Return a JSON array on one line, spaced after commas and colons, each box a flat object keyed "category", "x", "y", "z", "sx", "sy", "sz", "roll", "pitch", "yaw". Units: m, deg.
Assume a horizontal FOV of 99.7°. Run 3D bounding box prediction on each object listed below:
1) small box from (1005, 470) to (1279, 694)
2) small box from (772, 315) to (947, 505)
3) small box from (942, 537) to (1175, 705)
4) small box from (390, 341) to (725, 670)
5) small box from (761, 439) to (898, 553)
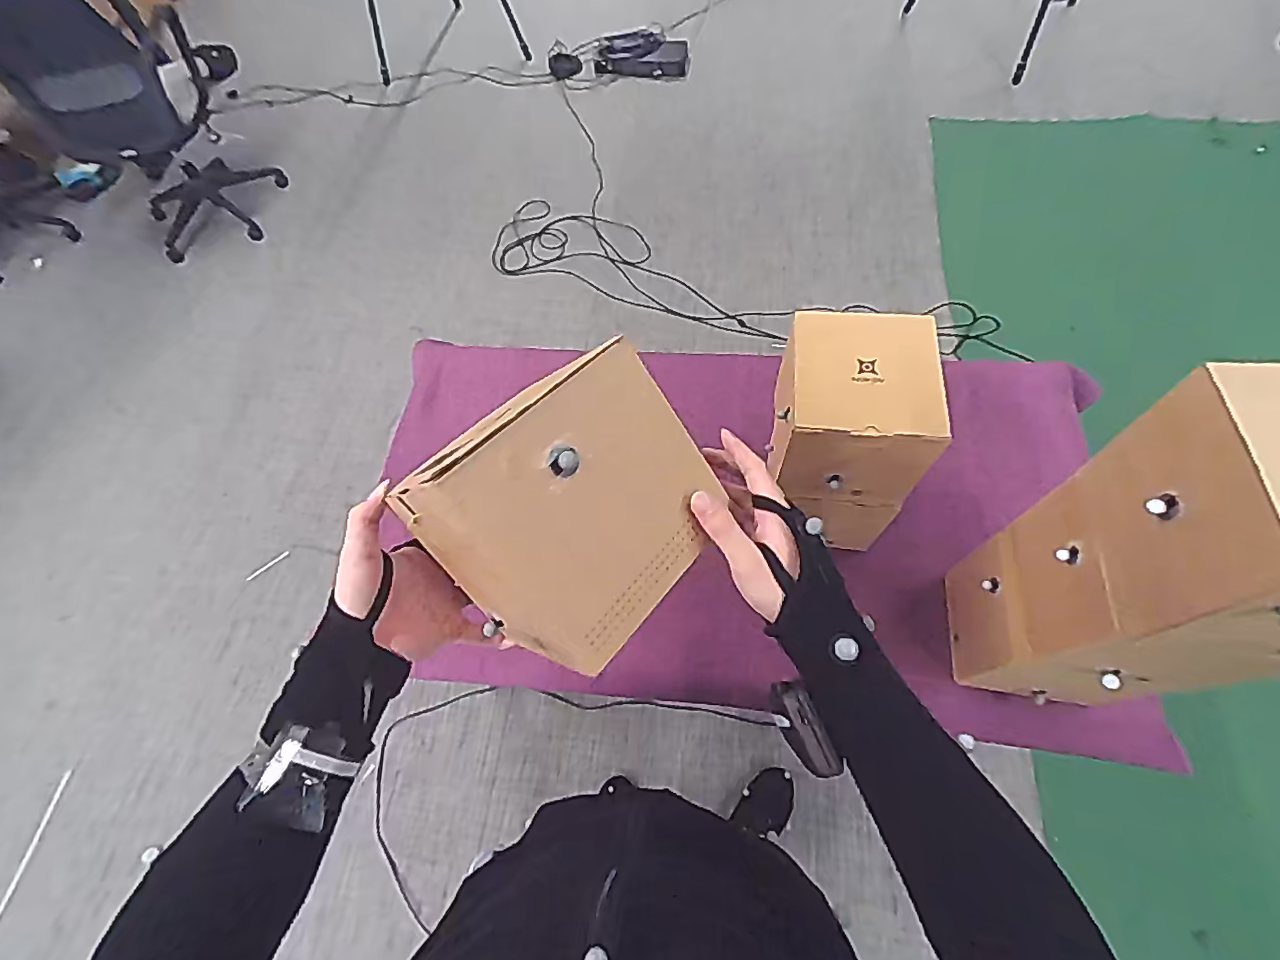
[{"category": "small box", "x": 0.517, "y": 0.112, "z": 0.570, "sx": 0.168, "sy": 0.176, "sz": 0.179, "roll": 7, "pitch": 63, "yaw": 10}, {"category": "small box", "x": 0.266, "y": -0.085, "z": 0.696, "sx": 0.168, "sy": 0.176, "sz": 0.179, "roll": 5, "pitch": 64, "yaw": 7}, {"category": "small box", "x": 0.528, "y": 0.192, "z": 0.713, "sx": 0.179, "sy": 0.176, "sz": 0.168, "roll": 7, "pitch": 63, "yaw": 10}, {"category": "small box", "x": -0.063, "y": 0.022, "z": 0.437, "sx": 0.179, "sy": 0.168, "sz": 0.176, "roll": -43, "pitch": 109, "yaw": -28}, {"category": "small box", "x": 0.285, "y": -0.005, "z": 0.837, "sx": 0.168, "sy": 0.176, "sz": 0.179, "roll": 8, "pitch": 64, "yaw": 9}]
